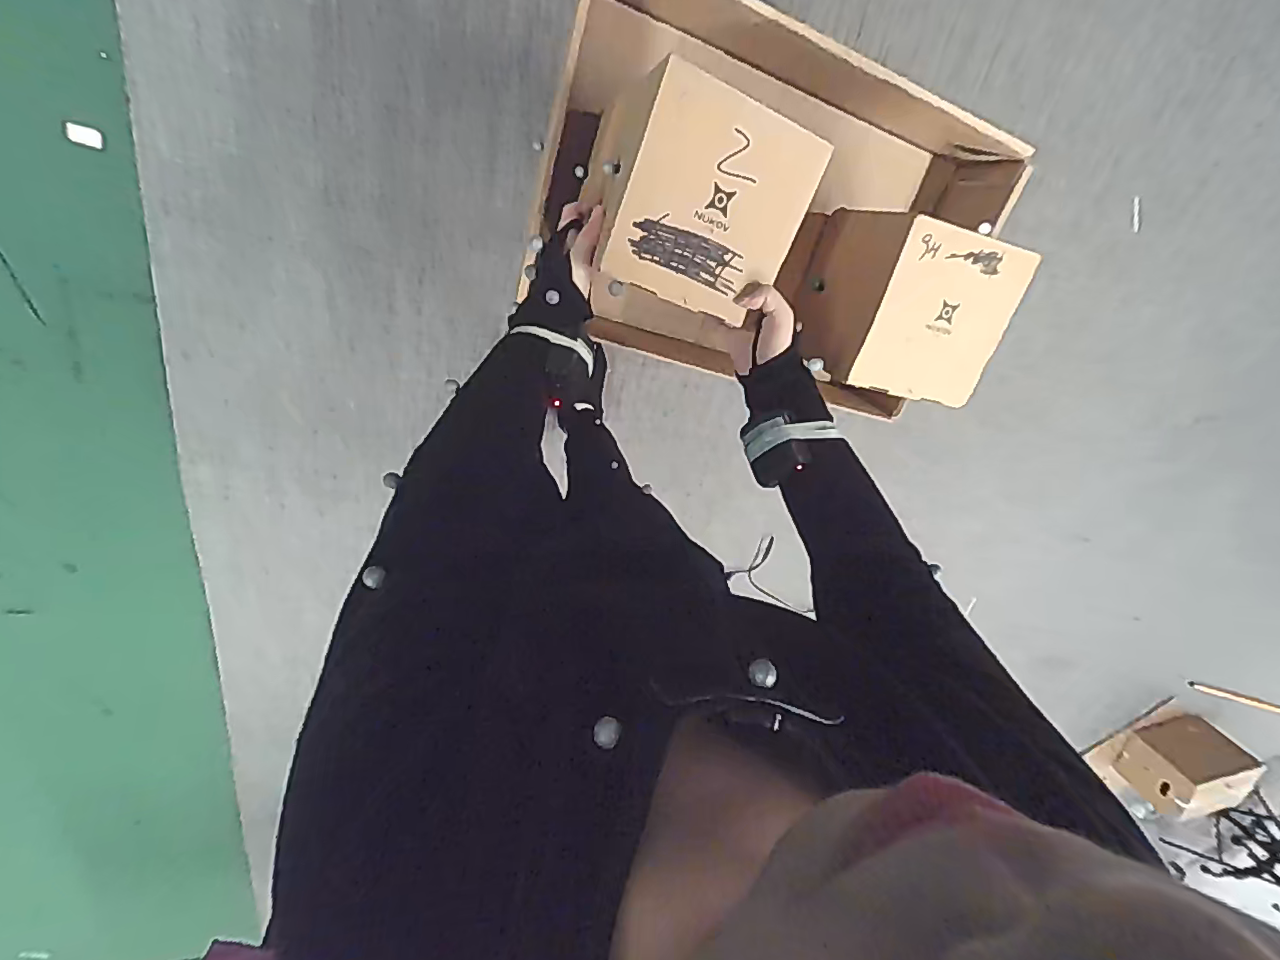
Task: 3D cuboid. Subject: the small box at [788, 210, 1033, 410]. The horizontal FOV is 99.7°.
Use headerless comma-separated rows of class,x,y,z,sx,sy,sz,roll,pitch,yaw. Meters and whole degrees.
small box,0.303,-0.208,0.652,0.168,0.176,0.179,9,116,-18
